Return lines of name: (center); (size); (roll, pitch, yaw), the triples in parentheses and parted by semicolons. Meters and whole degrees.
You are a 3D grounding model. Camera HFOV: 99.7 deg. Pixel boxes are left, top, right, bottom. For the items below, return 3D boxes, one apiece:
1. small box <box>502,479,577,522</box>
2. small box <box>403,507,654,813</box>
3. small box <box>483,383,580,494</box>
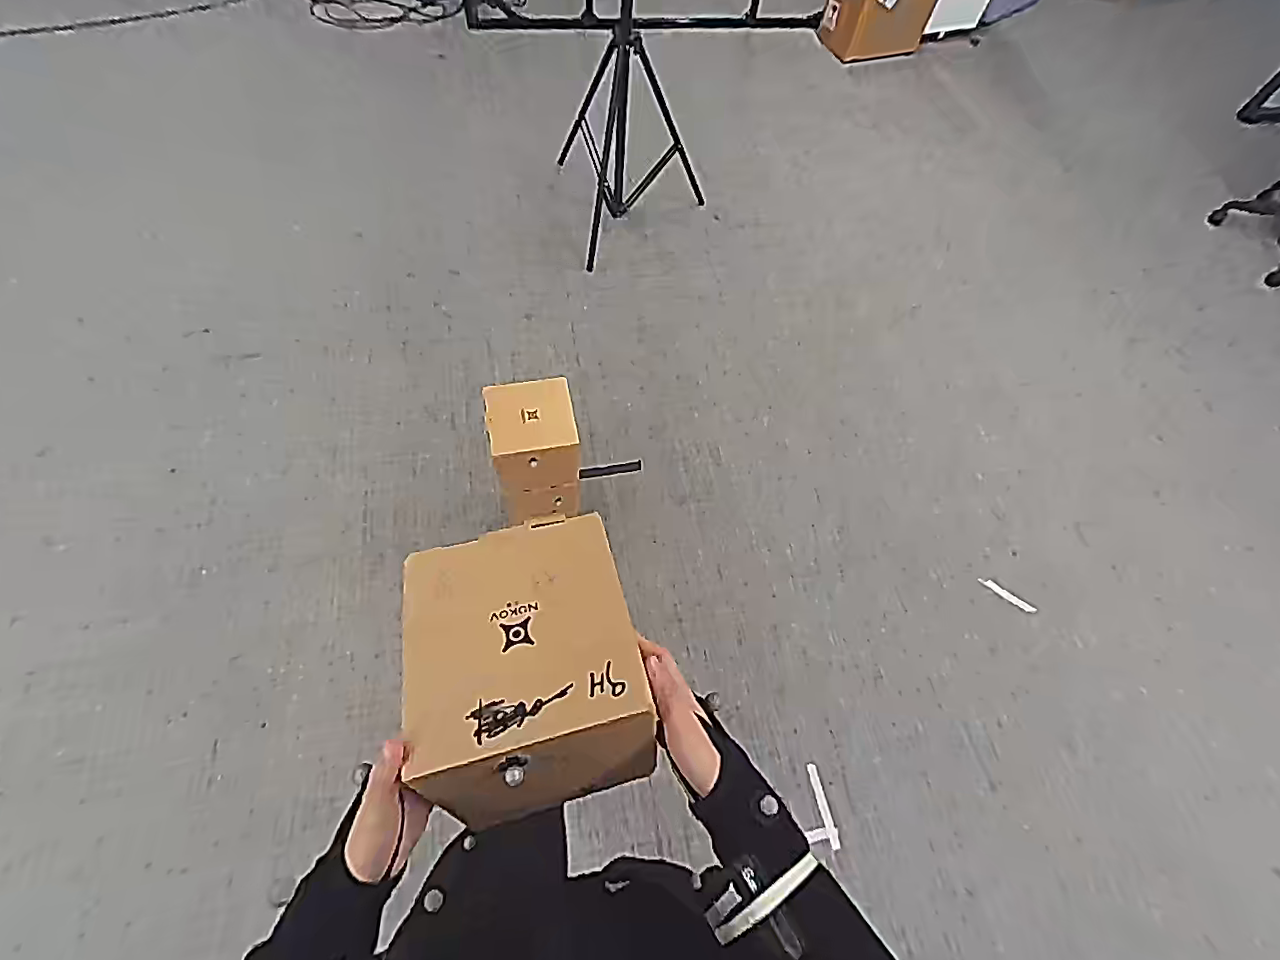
small box: (-0.246, -0.011, 1.304); (0.168, 0.176, 0.179); (-9, 64, -11)
small box: (-0.090, 0.154, 0.467); (0.168, 0.176, 0.179); (-12, 49, -9)
small box: (-0.229, -0.085, 1.160); (0.179, 0.176, 0.168); (-10, 66, -10)
